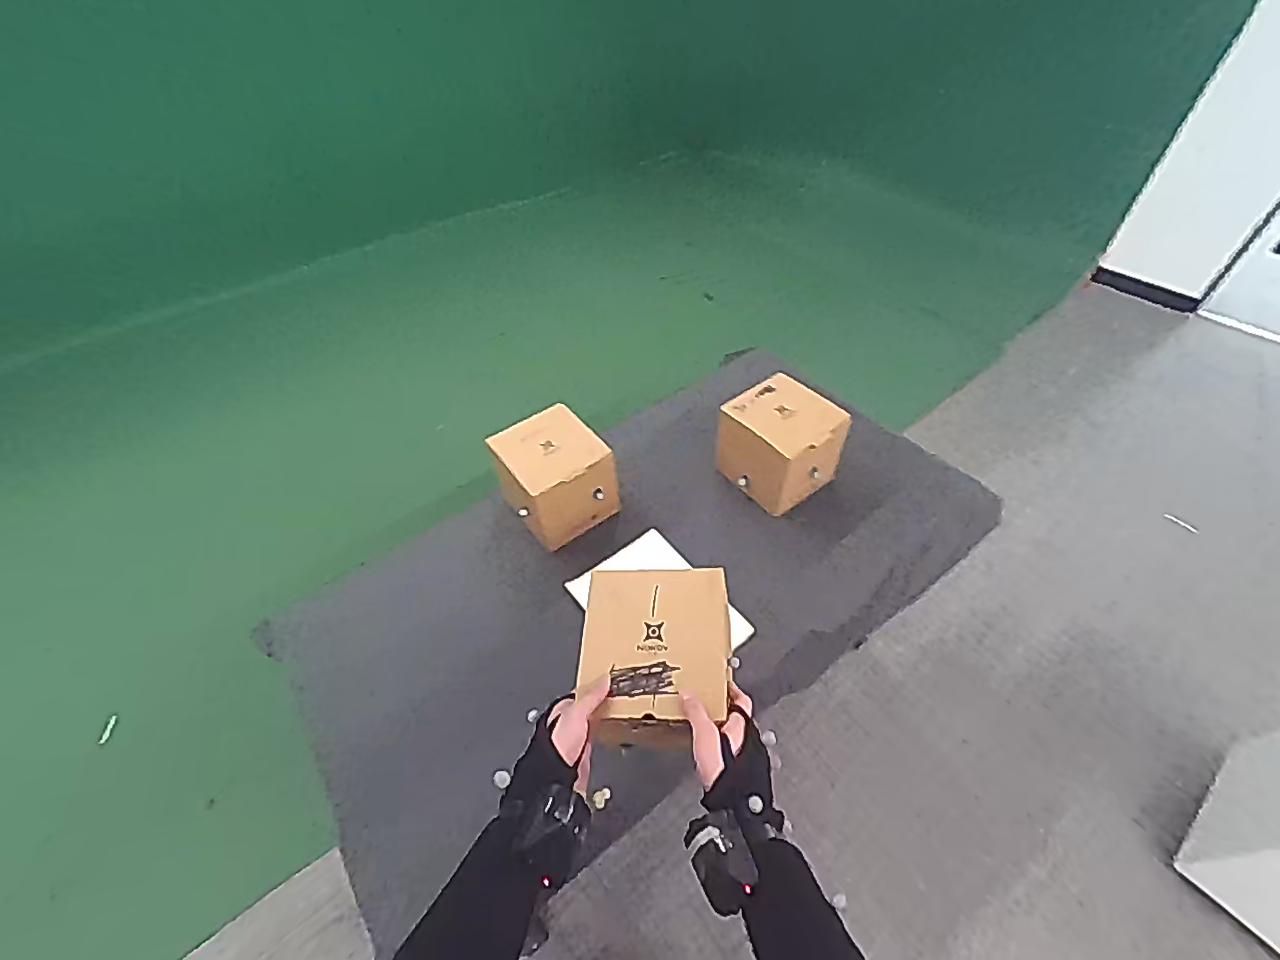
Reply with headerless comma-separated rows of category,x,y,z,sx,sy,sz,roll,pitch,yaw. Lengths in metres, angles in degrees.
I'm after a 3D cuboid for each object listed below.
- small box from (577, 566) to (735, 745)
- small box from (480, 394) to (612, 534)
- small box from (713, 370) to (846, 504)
small box,0.032,0.223,0.676,0.168,0.176,0.179,-2,55,10
small box,-0.167,-0.022,1.008,0.168,0.176,0.179,-32,55,-24
small box,0.261,-0.076,1.053,0.168,0.176,0.179,-31,56,-22
